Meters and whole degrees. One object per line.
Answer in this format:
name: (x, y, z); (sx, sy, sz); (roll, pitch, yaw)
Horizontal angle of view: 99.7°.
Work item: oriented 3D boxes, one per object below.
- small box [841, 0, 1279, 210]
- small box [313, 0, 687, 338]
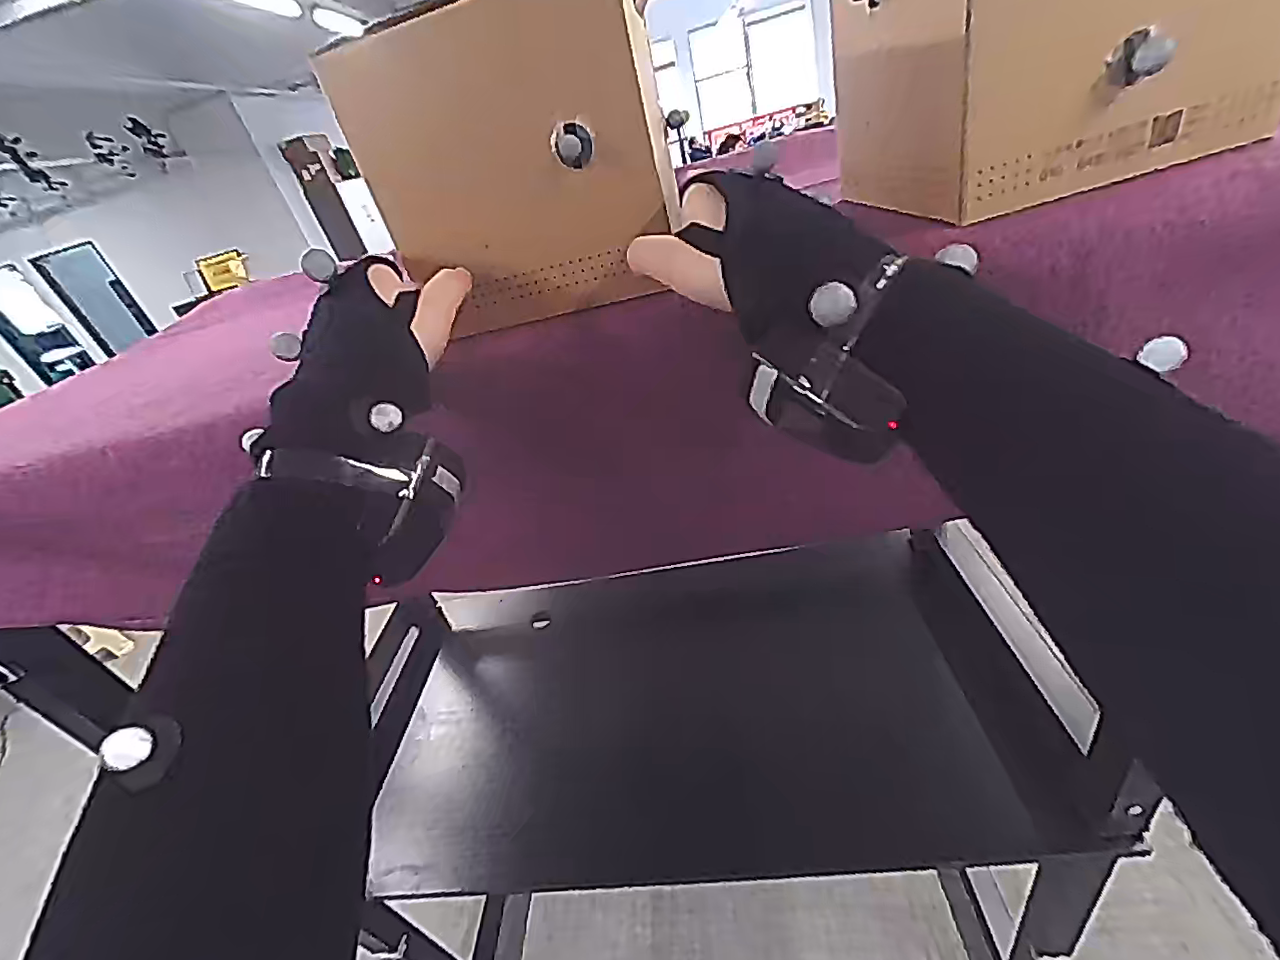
small box: (0.227, -0.272, 0.319); (0.168, 0.176, 0.179); (-15, 31, 5)
small box: (-0.066, -0.218, 0.379); (0.179, 0.176, 0.168); (-9, 31, 12)
